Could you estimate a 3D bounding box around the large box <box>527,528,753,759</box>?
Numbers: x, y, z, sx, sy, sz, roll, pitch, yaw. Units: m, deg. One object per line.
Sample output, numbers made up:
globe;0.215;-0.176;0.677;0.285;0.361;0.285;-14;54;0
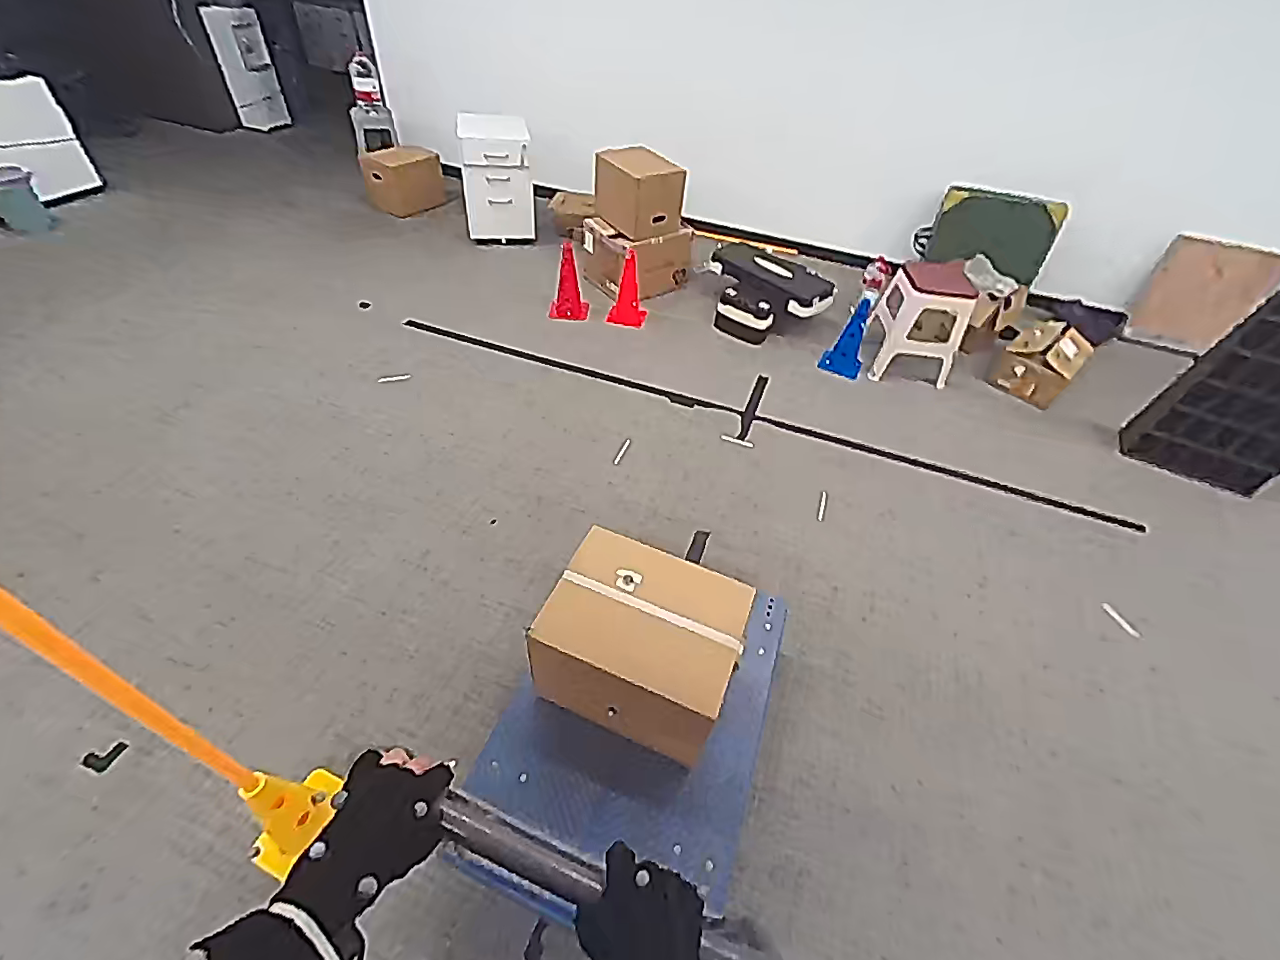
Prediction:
large box;0.004;0.375;1.248;0.408;0.320;0.320;20;48;13
